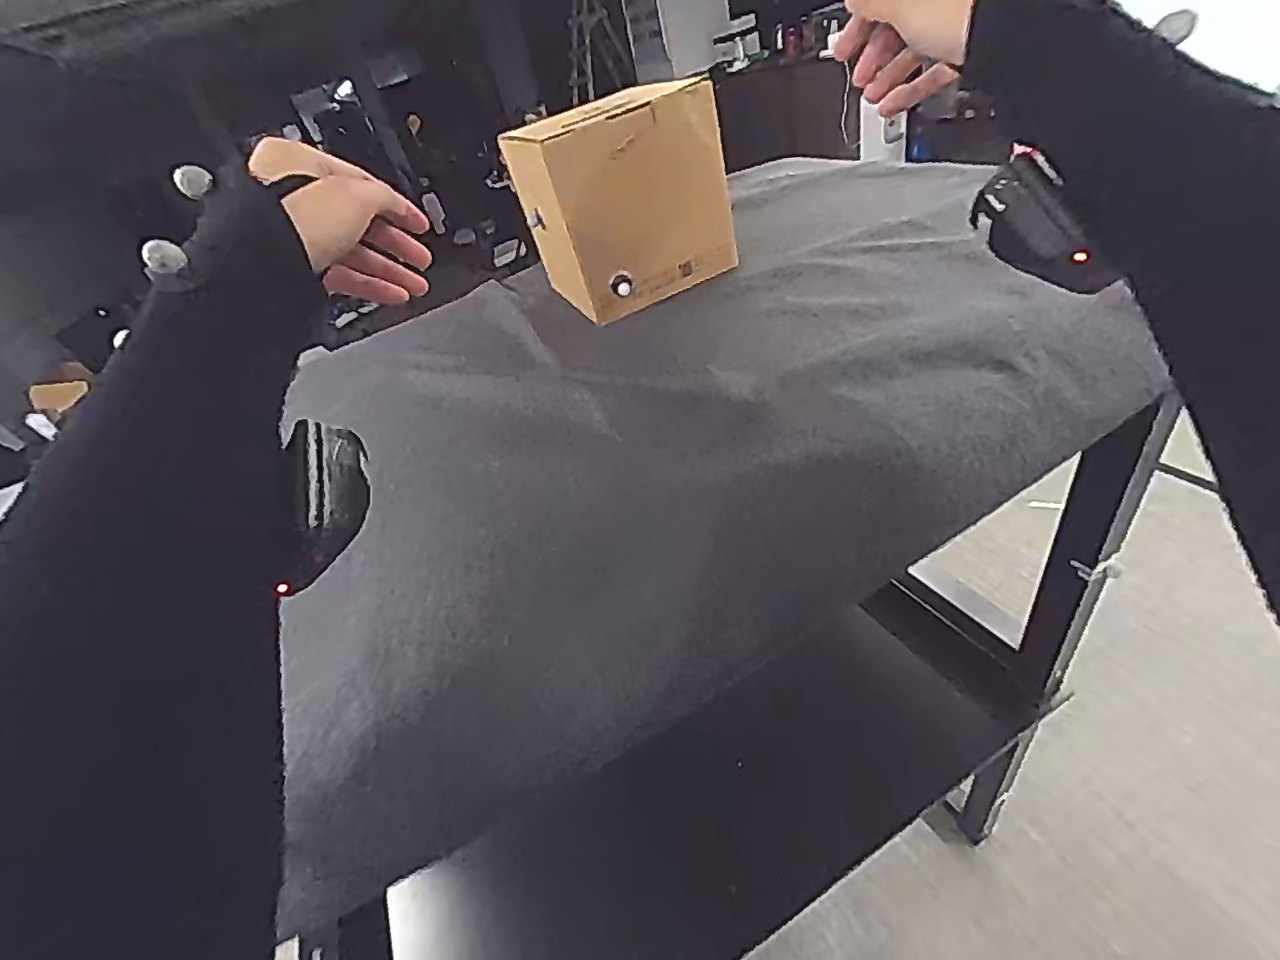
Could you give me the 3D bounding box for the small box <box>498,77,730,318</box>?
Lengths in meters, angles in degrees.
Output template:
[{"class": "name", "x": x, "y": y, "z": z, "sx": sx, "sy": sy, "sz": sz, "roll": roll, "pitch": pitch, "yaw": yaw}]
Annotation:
[{"class": "small box", "x": -0.024, "y": -0.291, "z": 0.567, "sx": 0.168, "sy": 0.176, "sz": 0.179, "roll": -27, "pitch": 38, "yaw": -10}]
